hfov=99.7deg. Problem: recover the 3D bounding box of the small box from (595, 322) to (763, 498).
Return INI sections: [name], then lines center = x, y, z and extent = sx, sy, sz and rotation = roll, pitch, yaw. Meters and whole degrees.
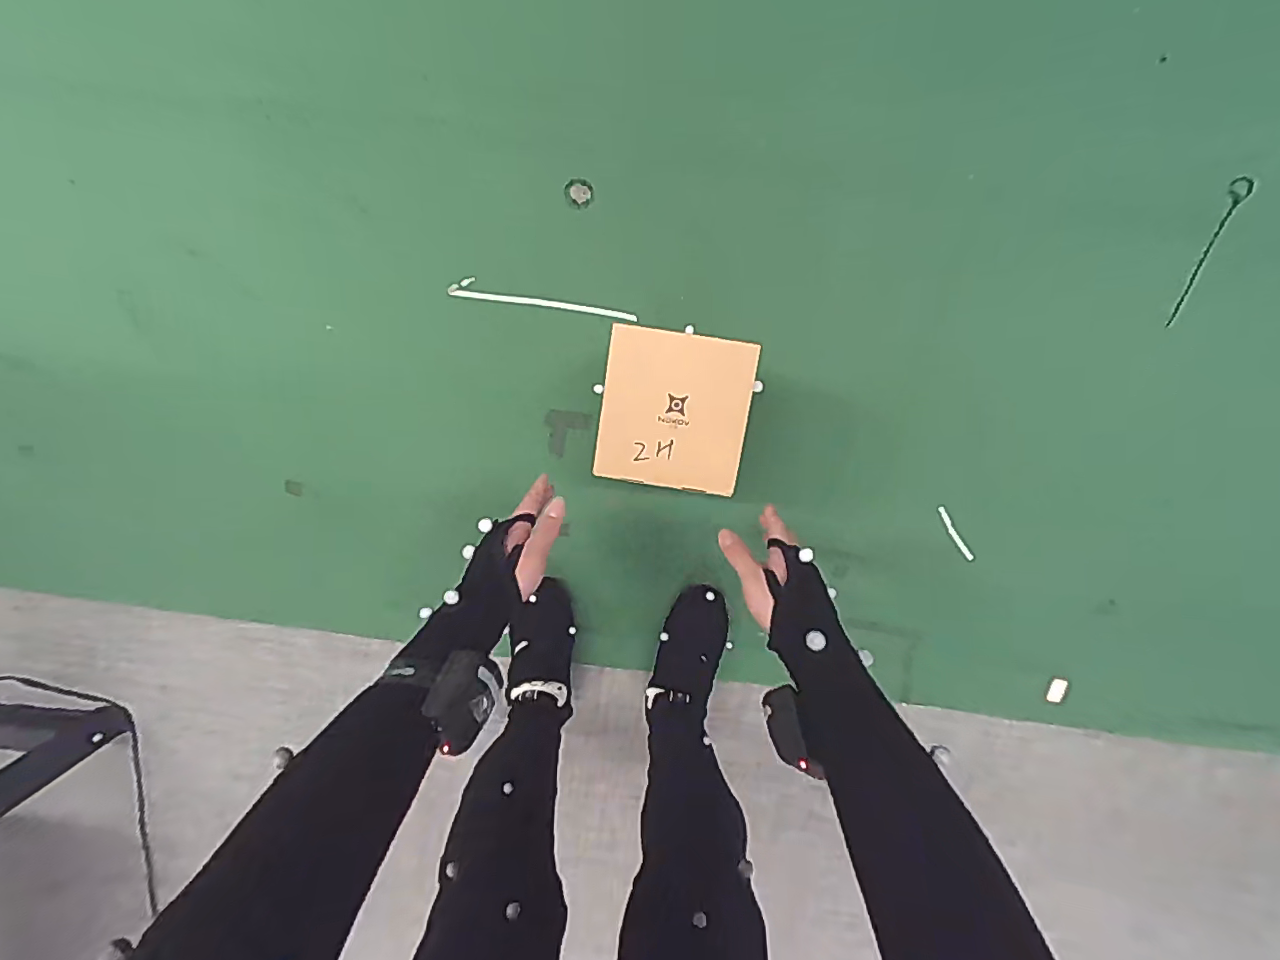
[small box]
center = 0.043, -0.090, 0.679
extent = 0.168, 0.176, 0.179
rotation = 9, 102, 0
